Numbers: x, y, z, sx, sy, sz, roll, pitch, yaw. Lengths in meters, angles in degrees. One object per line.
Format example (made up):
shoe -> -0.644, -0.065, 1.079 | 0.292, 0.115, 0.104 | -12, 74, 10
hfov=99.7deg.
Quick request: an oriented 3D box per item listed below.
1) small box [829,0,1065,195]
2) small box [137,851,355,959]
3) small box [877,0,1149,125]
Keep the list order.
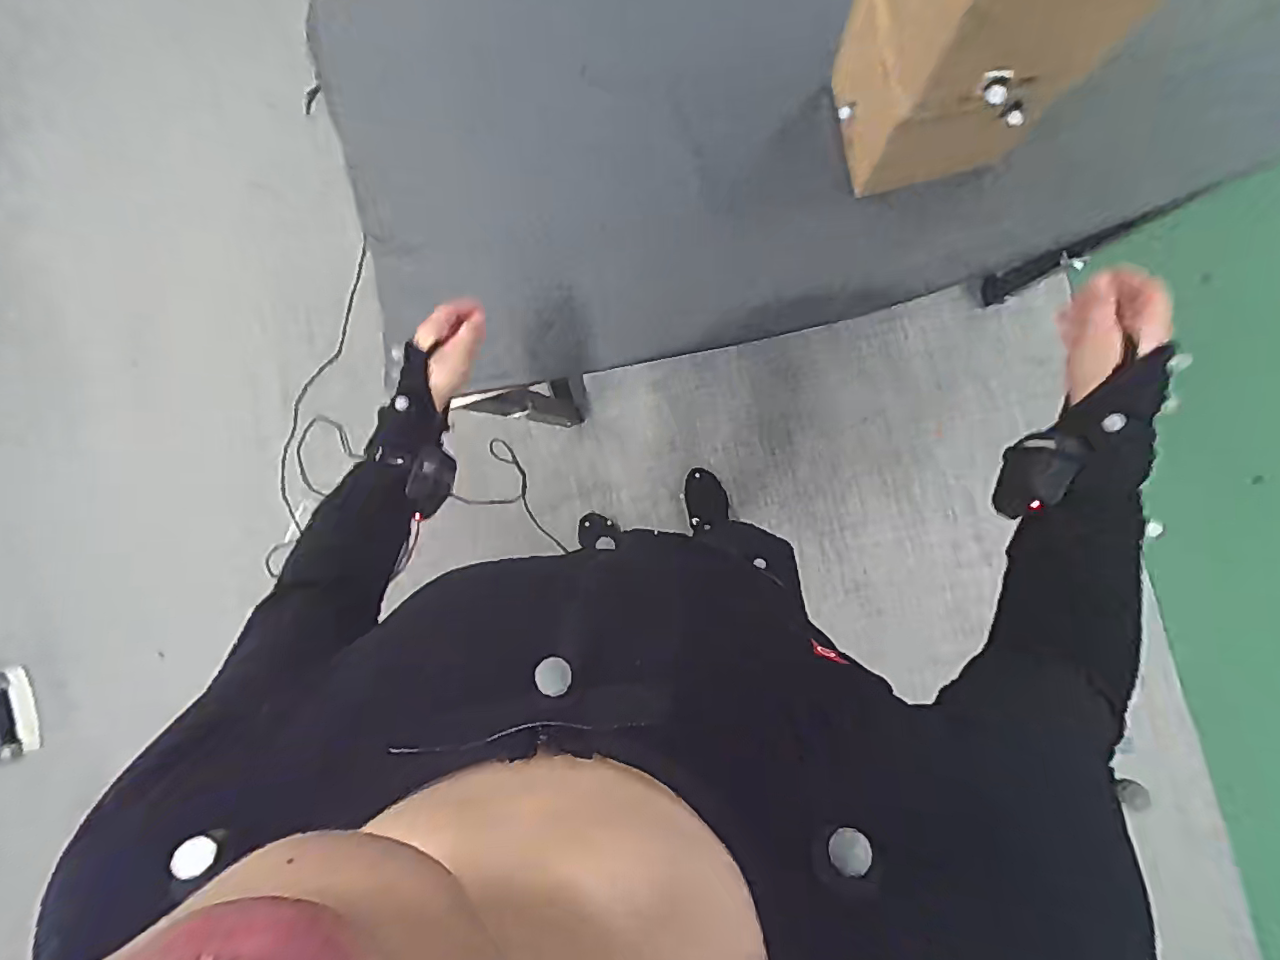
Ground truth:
small box -> 0.330, -0.456, 0.606 | 0.179, 0.176, 0.168 | -11, 89, 8
small box -> -0.520, 0.631, 0.697 | 0.179, 0.176, 0.168 | 32, 98, 3
small box -> 0.307, -0.444, 0.446 | 0.168, 0.176, 0.179 | -9, 92, 10
